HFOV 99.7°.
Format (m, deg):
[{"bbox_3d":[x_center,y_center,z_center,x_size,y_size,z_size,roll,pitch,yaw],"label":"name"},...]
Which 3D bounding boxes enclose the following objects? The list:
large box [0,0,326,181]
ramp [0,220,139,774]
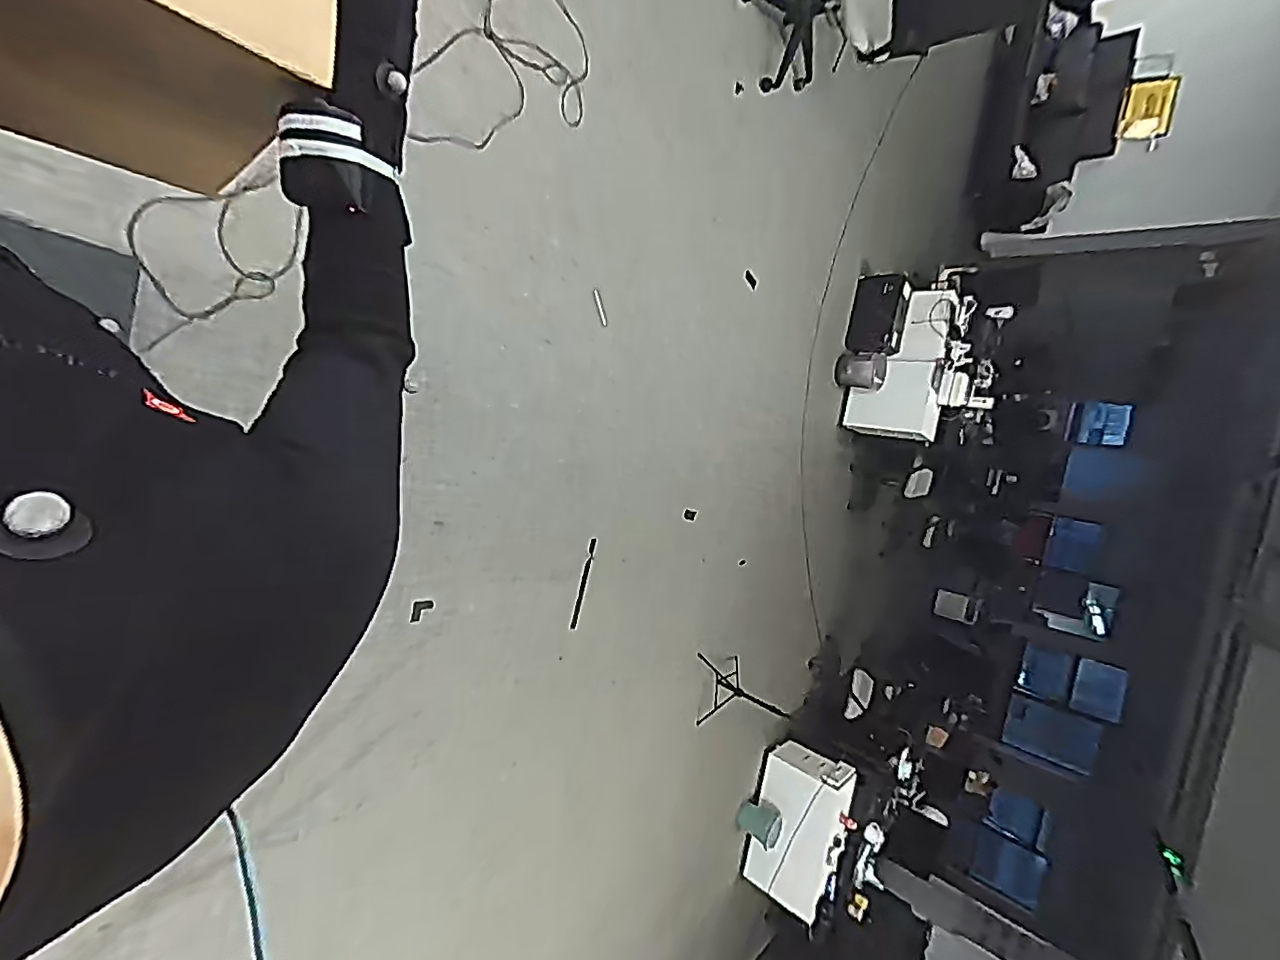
[{"bbox_3d":[-0.458,-0.446,0.316,0.408,0.320,0.320,0,96,-51],"label":"large box"},{"bbox_3d":[-1.223,0.019,0.894,0.509,0.206,0.991,7,95,-49],"label":"ramp"}]
